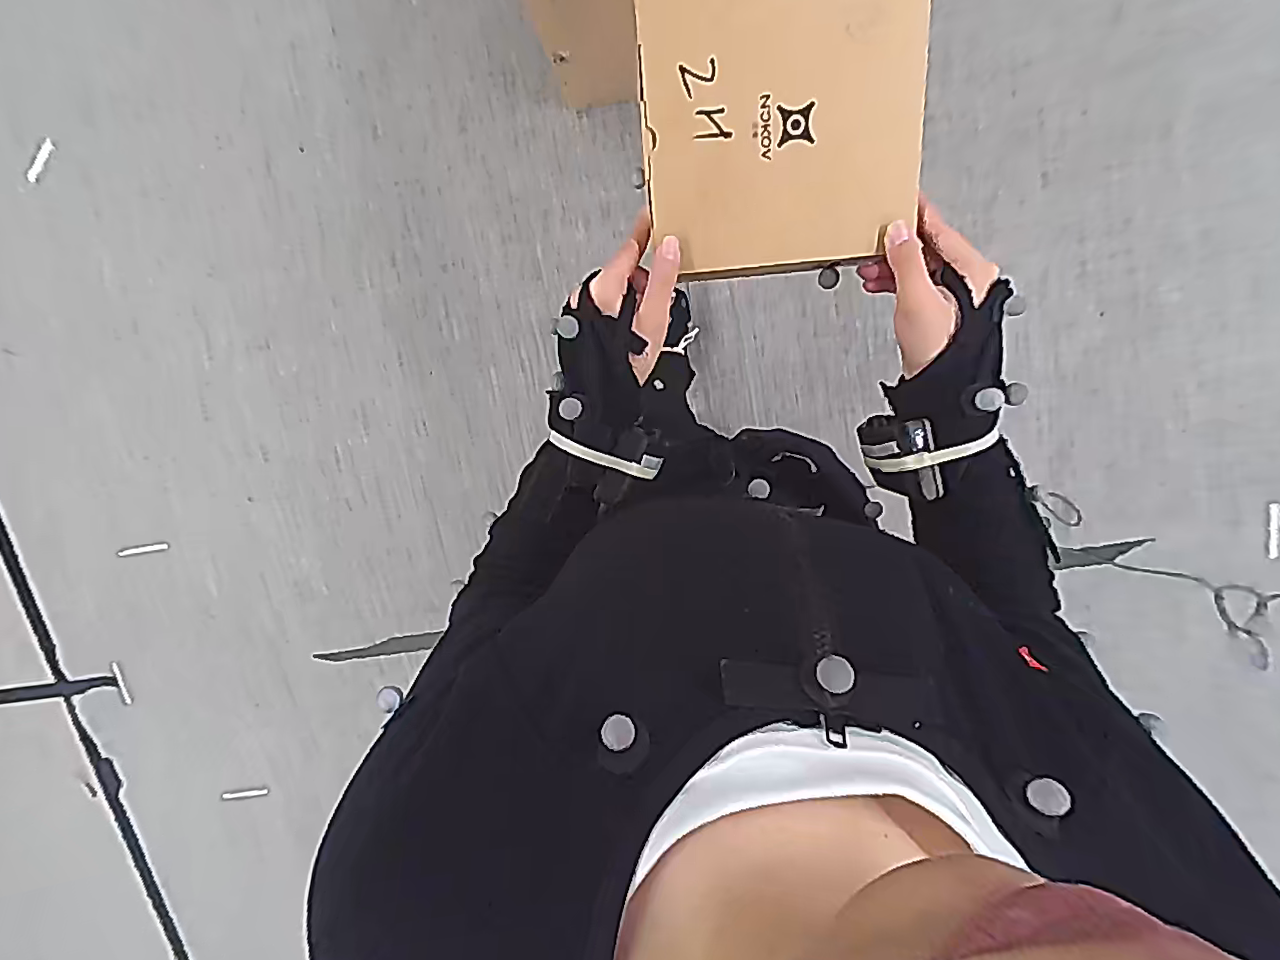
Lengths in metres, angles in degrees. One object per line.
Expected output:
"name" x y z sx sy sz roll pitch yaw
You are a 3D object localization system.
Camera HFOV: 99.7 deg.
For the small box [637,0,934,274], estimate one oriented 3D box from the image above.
"small box" 0.092 -0.253 0.411 0.179 0.176 0.168 -3 107 4
